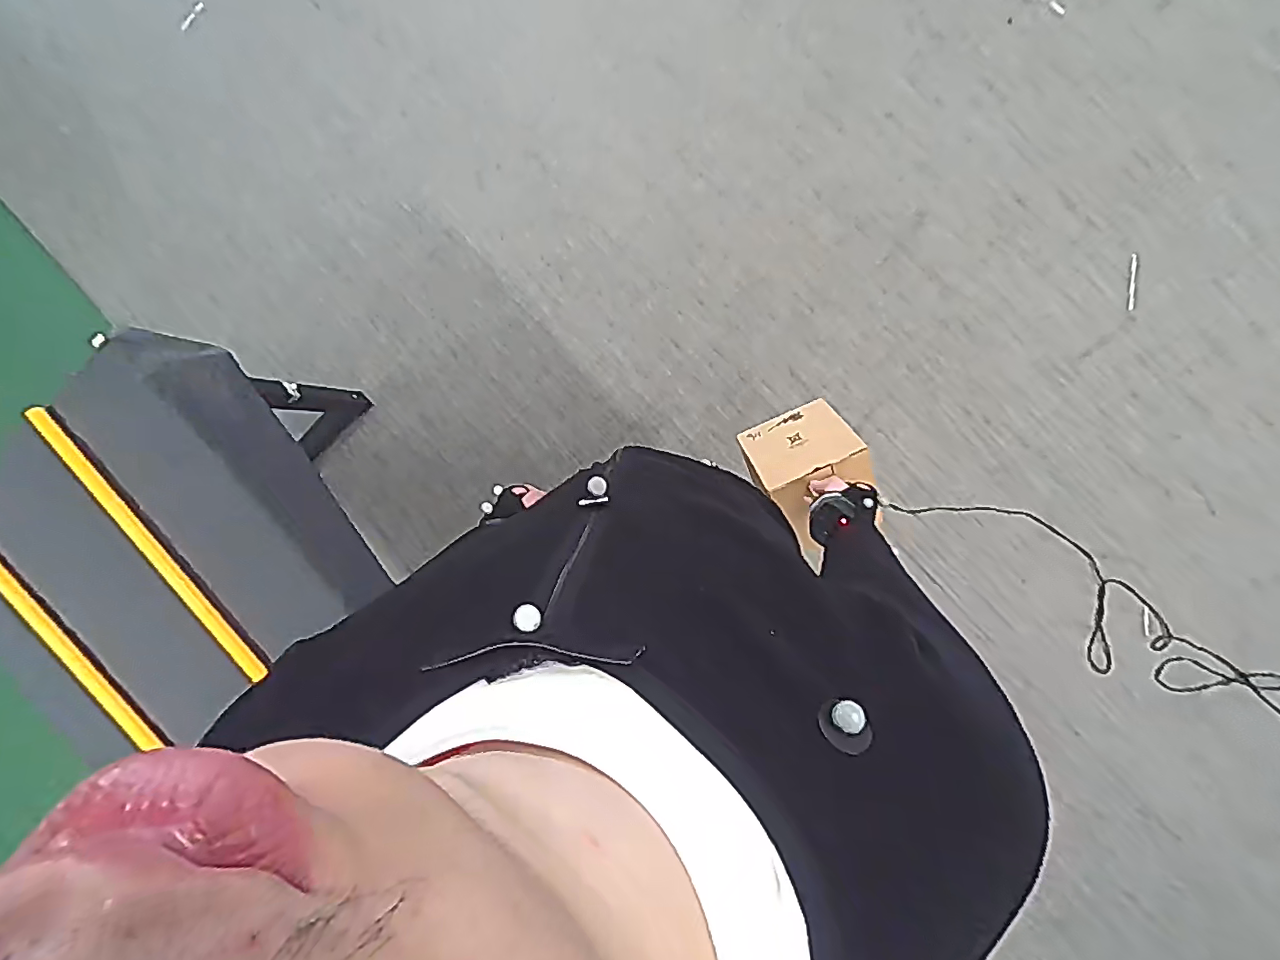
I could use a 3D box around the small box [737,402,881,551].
[{"bbox_3d":[0.294,0.000,0.941,0.168,0.179,0.176,-26,124,5],"label":"small box"}]
